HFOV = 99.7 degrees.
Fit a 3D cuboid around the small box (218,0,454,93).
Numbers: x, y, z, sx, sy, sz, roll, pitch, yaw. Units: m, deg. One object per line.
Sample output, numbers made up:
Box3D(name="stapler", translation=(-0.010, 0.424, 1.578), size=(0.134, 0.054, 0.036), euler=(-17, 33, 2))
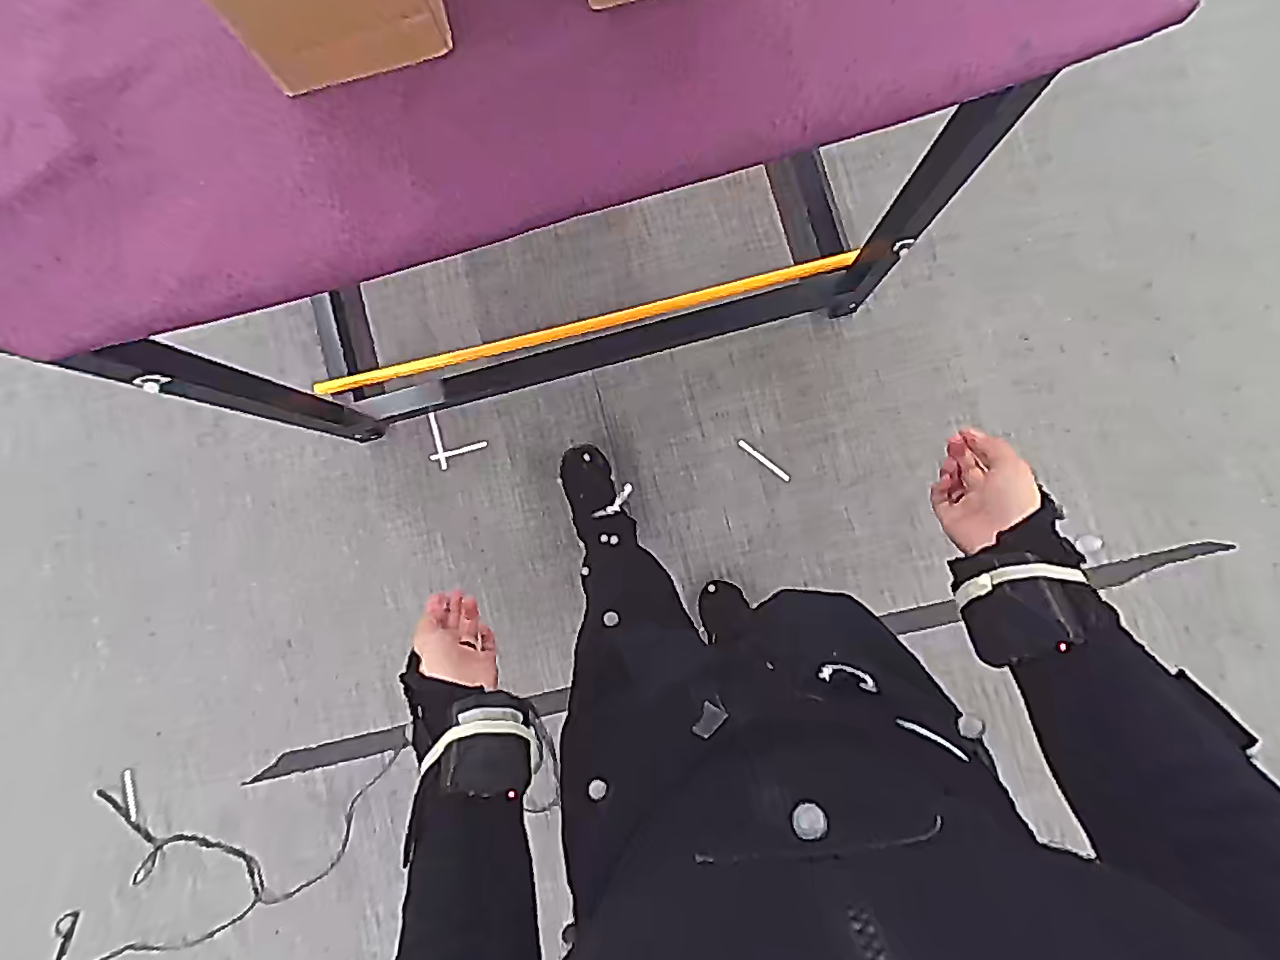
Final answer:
Box3D(name="small box", translation=(-0.291, -0.489, 0.476), size=(0.179, 0.176, 0.168), euler=(-14, 84, 1))
